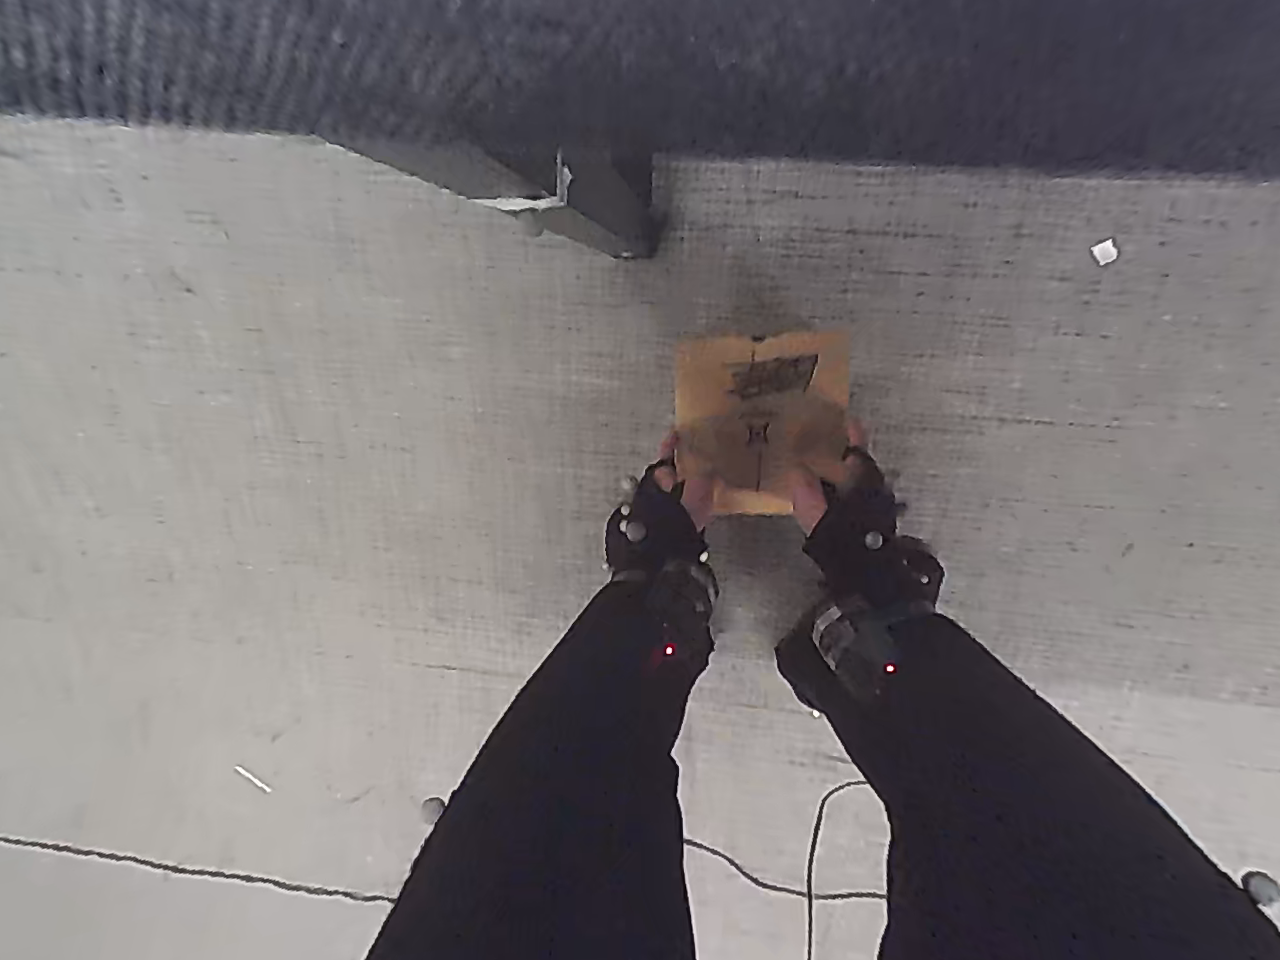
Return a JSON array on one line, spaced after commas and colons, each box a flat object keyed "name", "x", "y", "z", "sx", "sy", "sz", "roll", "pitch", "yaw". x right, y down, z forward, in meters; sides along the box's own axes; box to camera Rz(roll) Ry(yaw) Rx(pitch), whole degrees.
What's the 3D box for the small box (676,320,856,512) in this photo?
[{"name": "small box", "x": 0.133, "y": -0.063, "z": 0.586, "sx": 0.168, "sy": 0.176, "sz": 0.179, "roll": -2, "pitch": 95, "yaw": 13}]
